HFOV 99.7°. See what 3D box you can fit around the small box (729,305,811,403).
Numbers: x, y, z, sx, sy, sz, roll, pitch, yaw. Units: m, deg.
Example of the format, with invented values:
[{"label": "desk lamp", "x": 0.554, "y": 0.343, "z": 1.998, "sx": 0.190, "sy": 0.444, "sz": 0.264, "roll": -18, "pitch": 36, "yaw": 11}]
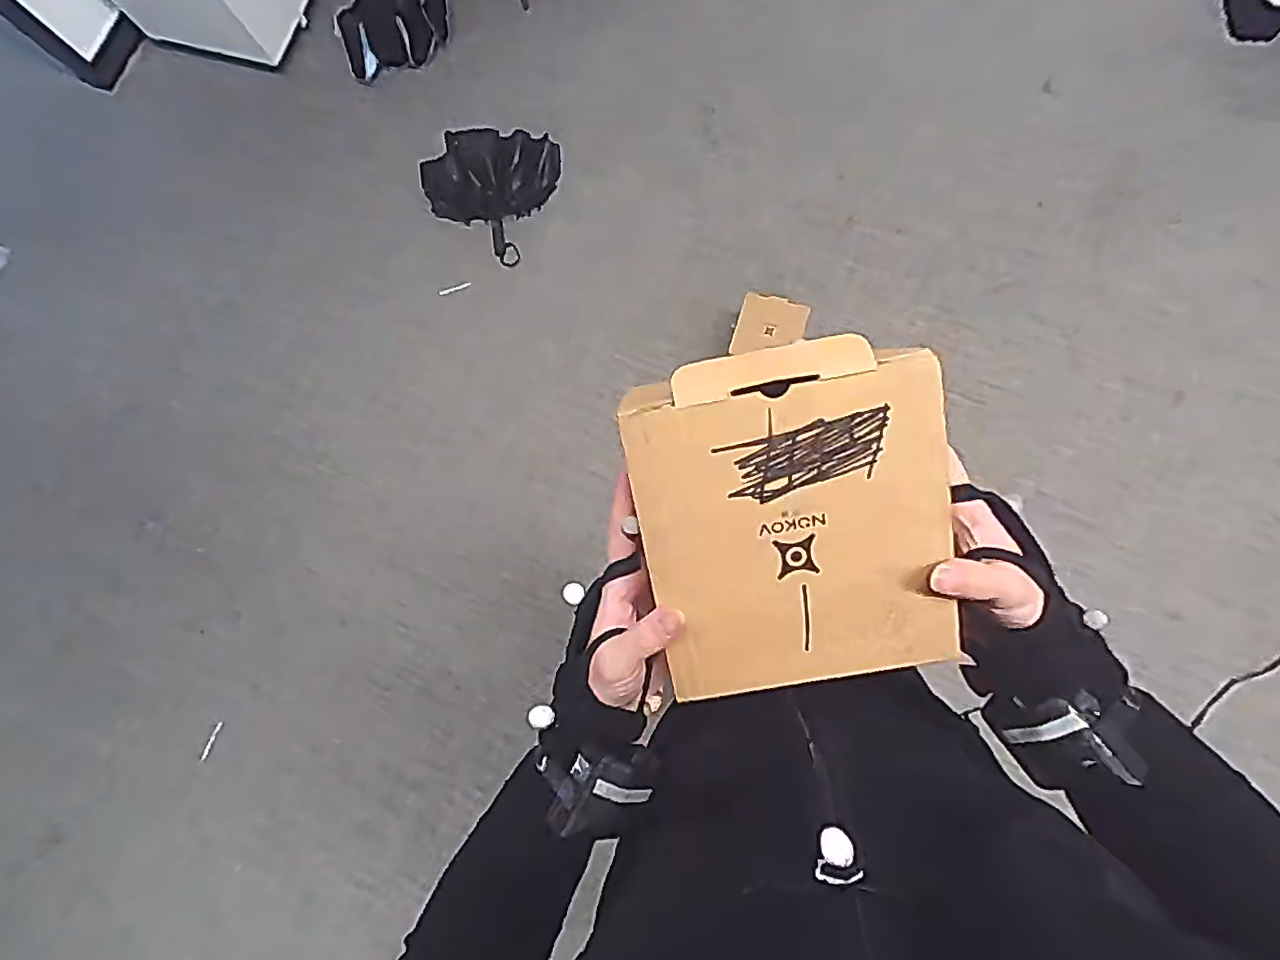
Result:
[{"label": "small box", "x": 0.335, "y": -0.327, "z": 1.430, "sx": 0.168, "sy": 0.176, "sz": 0.179, "roll": 16, "pitch": 82, "yaw": 10}]
